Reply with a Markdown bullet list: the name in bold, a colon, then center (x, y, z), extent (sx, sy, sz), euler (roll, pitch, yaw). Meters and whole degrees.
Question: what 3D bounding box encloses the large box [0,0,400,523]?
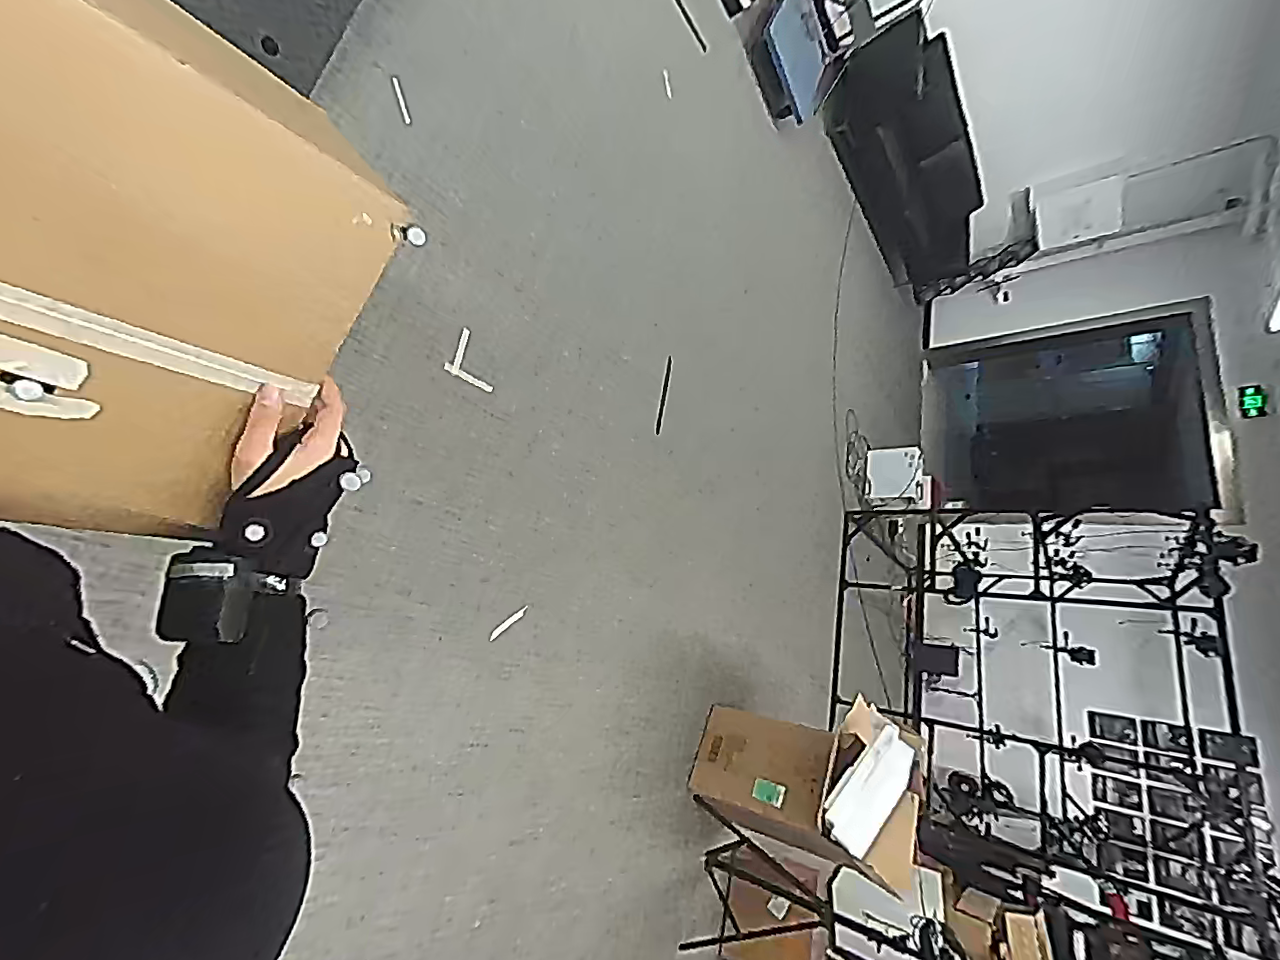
- **large box**: center (-0.456, -0.208, 0.350), extent (0.320, 0.320, 0.408), euler (-50, 145, 16)
